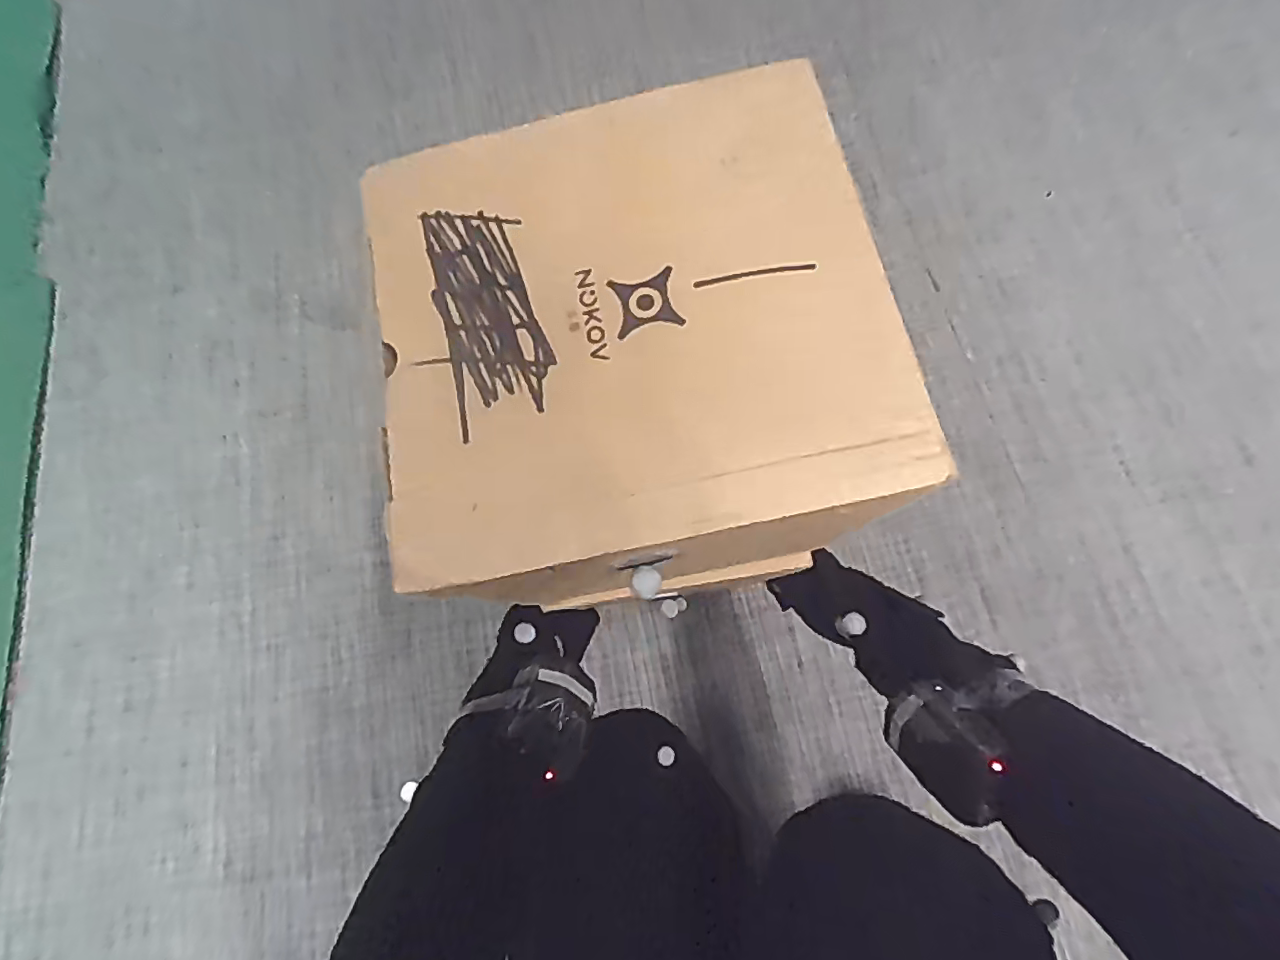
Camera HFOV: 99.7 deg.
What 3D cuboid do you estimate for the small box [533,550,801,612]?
[{"bbox_3d":[0.012,0.002,0.418,0.168,0.176,0.179,-10,78,5],"label":"small box"}]

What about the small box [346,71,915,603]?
[{"bbox_3d":[-0.007,-0.036,0.260,0.179,0.176,0.168,-11,76,4],"label":"small box"}]
